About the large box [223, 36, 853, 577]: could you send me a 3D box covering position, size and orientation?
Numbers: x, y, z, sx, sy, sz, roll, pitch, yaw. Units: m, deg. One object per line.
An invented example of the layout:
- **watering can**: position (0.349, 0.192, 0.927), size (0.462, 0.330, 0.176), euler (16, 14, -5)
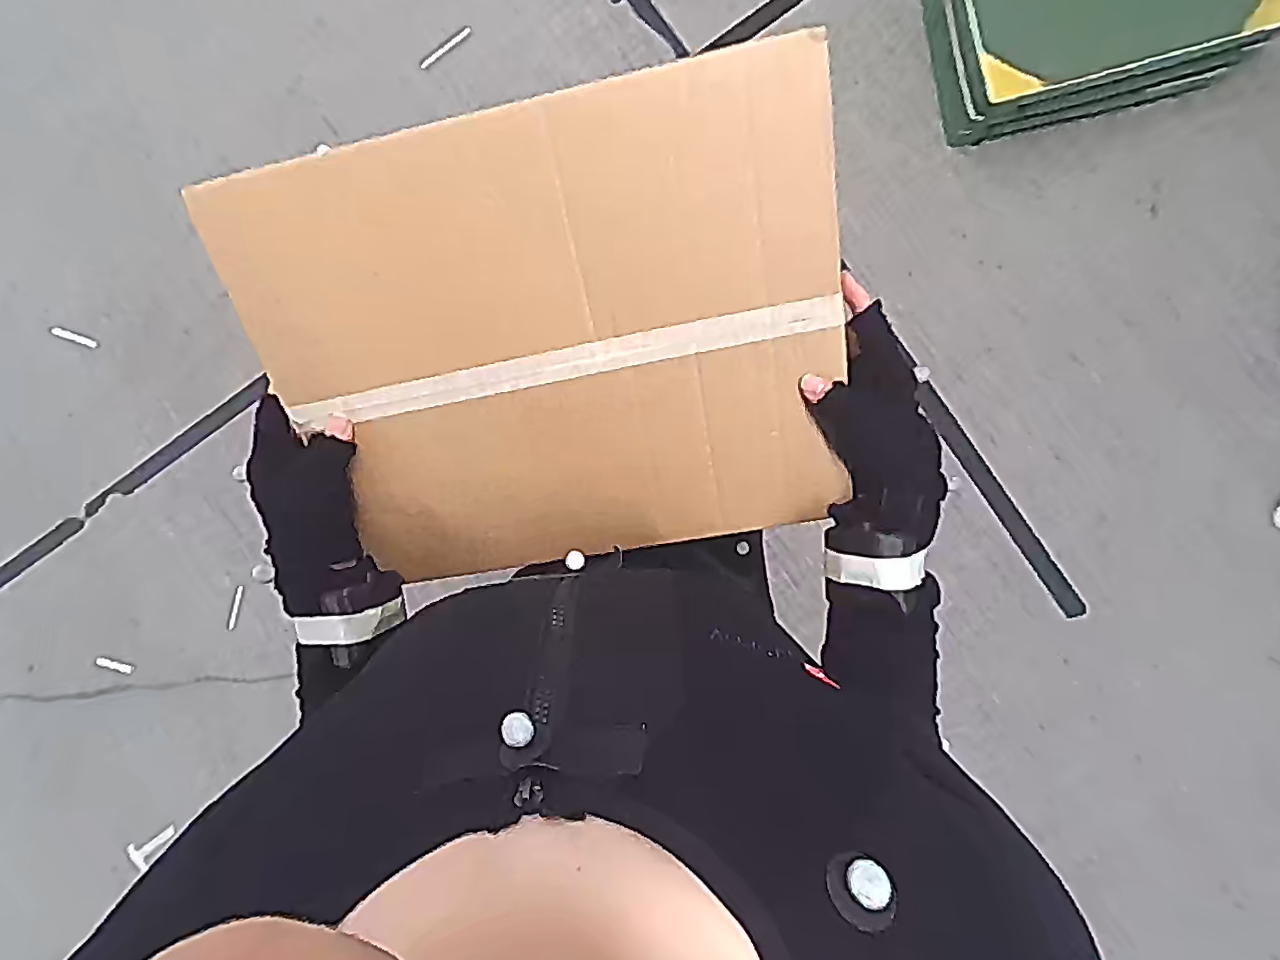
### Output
- **large box**: position (-0.052, -0.144, 0.528), size (0.408, 0.320, 0.320), euler (-10, 114, 6)
